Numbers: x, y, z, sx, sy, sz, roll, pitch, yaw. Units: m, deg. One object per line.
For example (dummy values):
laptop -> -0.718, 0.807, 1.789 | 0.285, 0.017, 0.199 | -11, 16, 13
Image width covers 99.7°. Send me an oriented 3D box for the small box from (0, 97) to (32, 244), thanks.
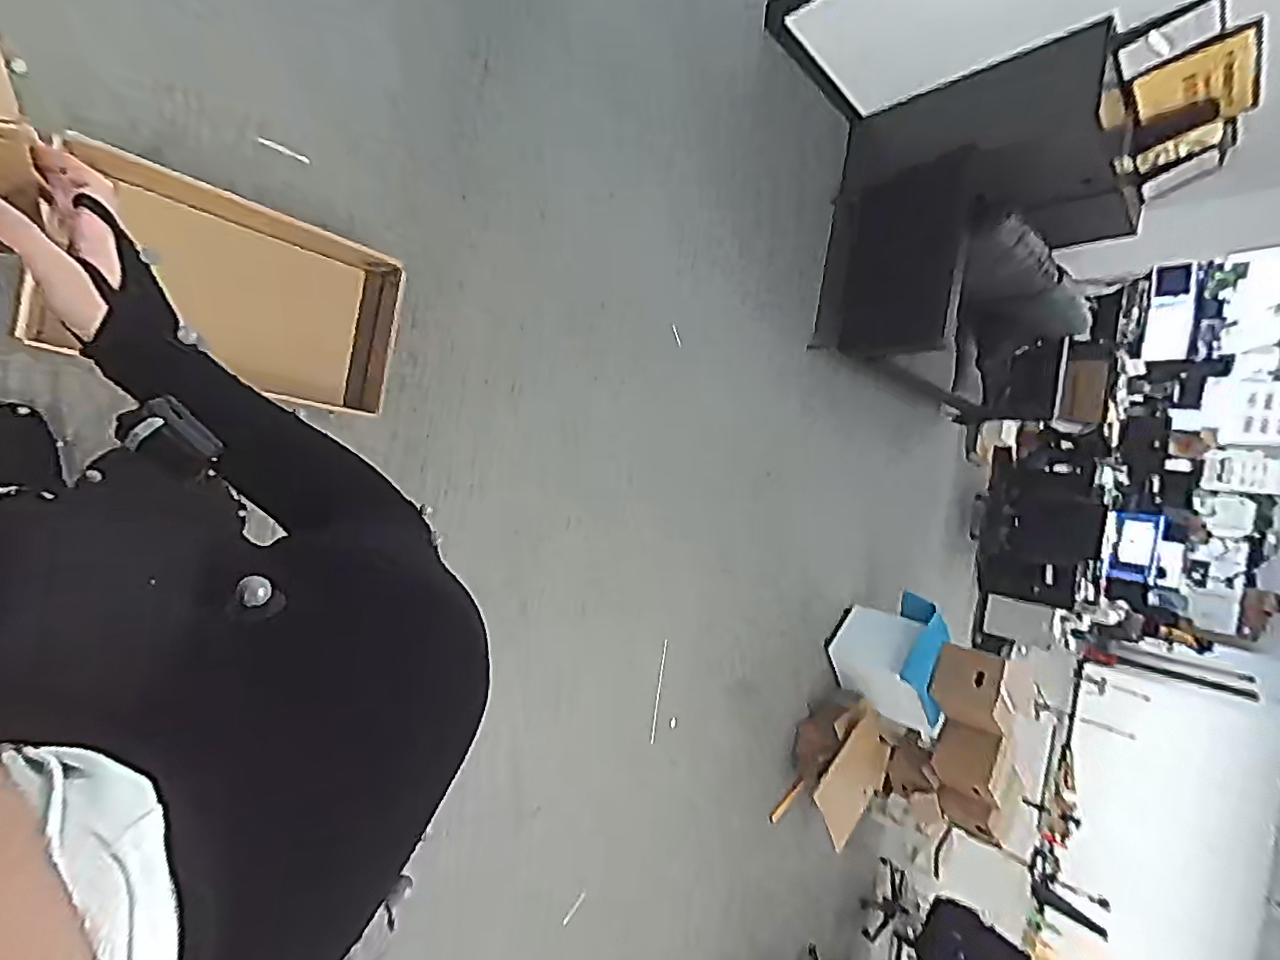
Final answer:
small box -> -0.552, -0.283, 0.359 | 0.168, 0.176, 0.179 | -16, 88, -45
